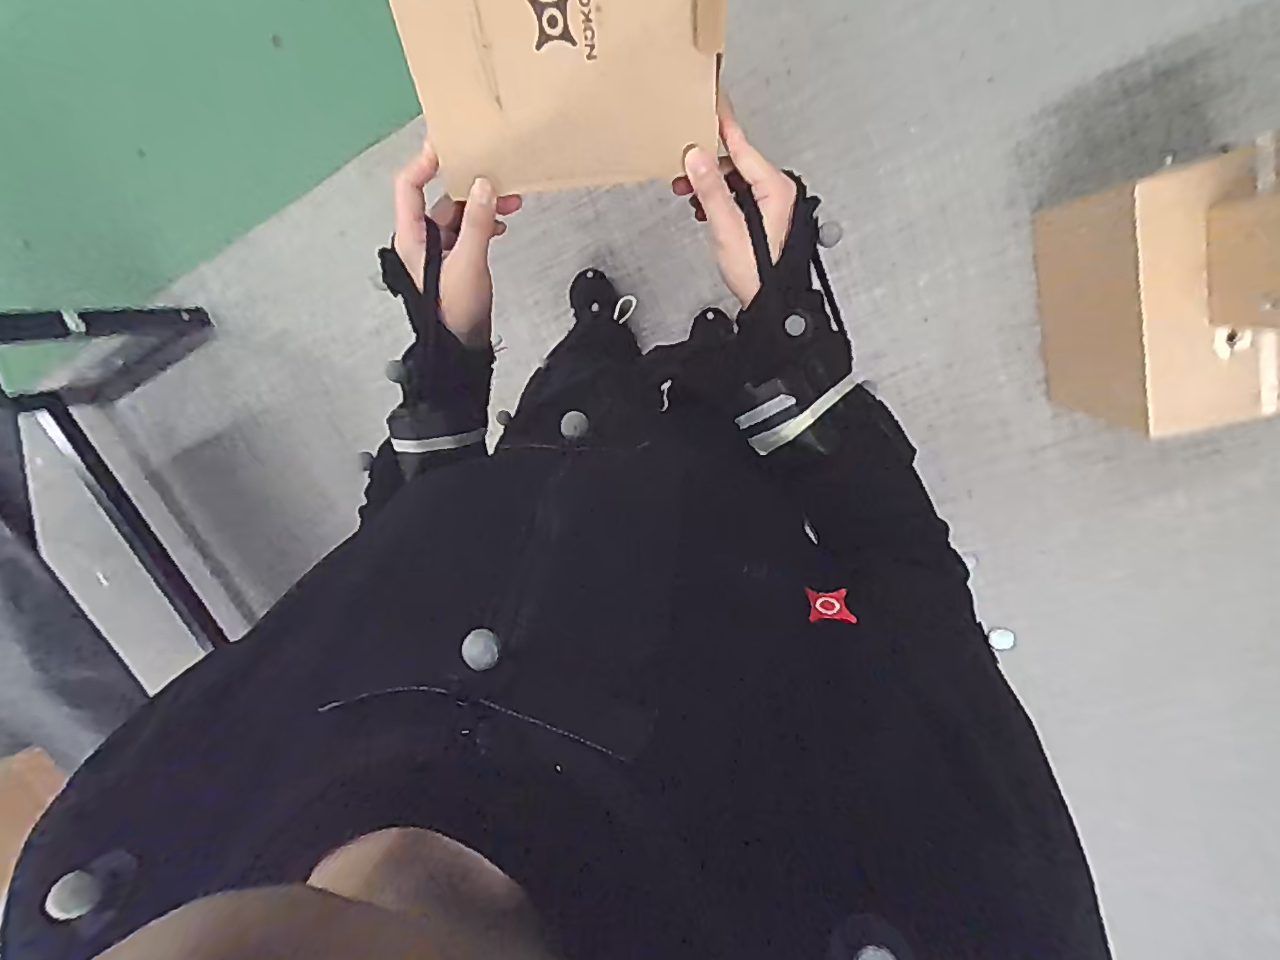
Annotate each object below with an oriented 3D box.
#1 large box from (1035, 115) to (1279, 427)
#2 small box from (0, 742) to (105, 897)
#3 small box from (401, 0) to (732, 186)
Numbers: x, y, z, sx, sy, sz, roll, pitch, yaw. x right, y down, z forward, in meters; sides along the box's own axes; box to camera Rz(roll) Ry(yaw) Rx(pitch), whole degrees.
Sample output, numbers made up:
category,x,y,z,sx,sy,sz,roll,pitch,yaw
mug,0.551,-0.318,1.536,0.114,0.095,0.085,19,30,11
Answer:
category,x,y,z,sx,sy,sz,roll,pitch,yaw
large box,0.946,-0.353,0.929,0.320,0.320,0.408,-14,107,16
small box,-1.138,0.611,0.970,0.168,0.176,0.179,-22,102,18
small box,-0.041,-0.308,0.343,0.179,0.176,0.168,-4,133,3
